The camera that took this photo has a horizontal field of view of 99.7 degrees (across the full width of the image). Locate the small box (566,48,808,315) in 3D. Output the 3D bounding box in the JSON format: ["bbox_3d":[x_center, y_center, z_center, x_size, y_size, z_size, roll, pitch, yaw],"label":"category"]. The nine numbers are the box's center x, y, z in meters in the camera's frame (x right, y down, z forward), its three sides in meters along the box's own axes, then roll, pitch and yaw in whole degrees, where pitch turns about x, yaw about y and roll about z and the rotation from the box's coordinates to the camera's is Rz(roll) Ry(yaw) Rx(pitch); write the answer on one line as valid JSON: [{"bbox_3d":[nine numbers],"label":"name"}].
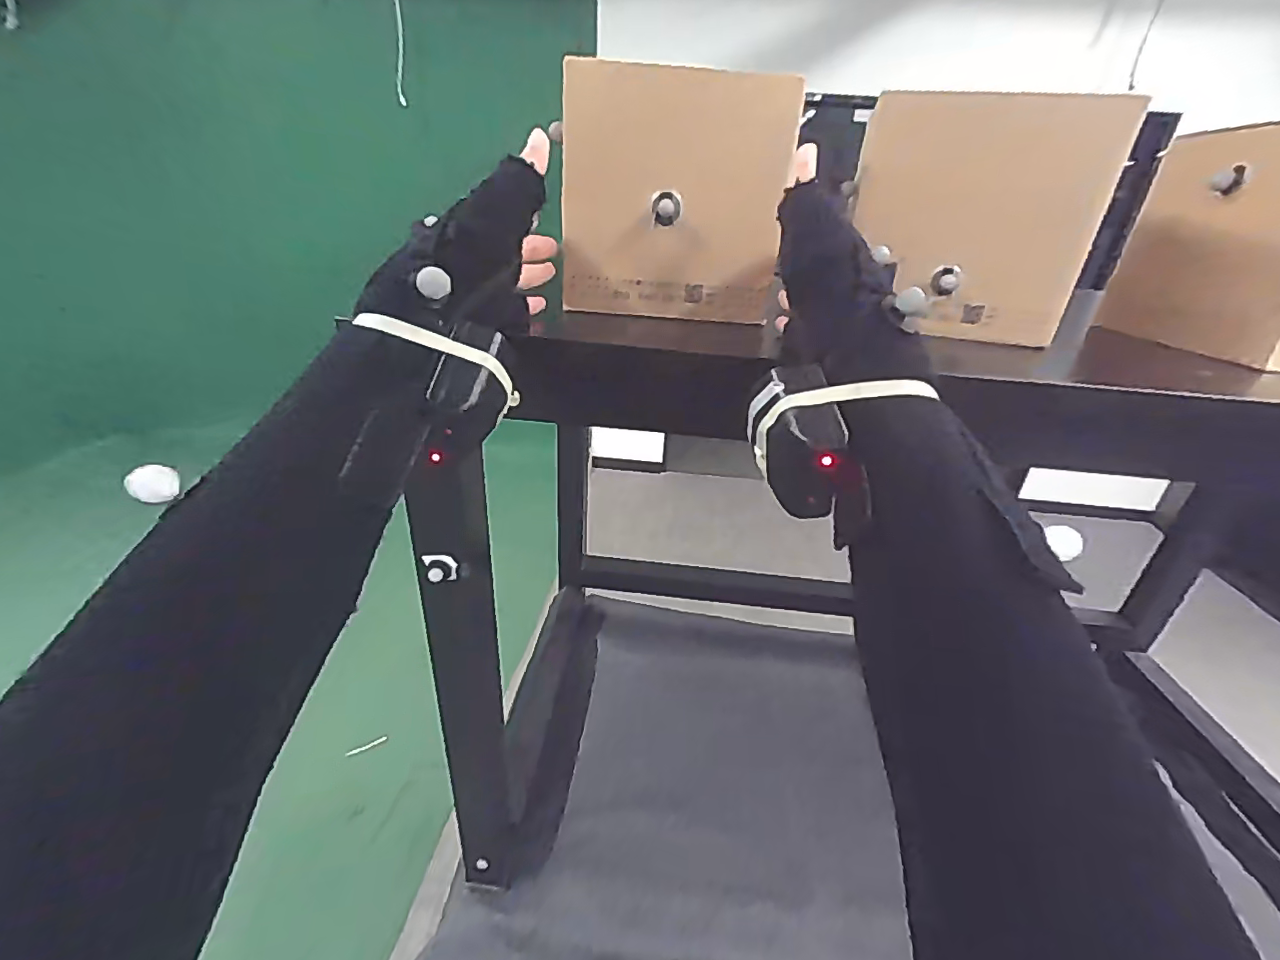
[{"bbox_3d":[0.031,-0.246,0.469,0.168,0.176,0.179,5,27,0],"label":"small box"}]

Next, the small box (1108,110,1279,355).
[{"bbox_3d":[0.541,-0.188,0.427,0.168,0.176,0.179,3,27,-1],"label":"small box"}]
